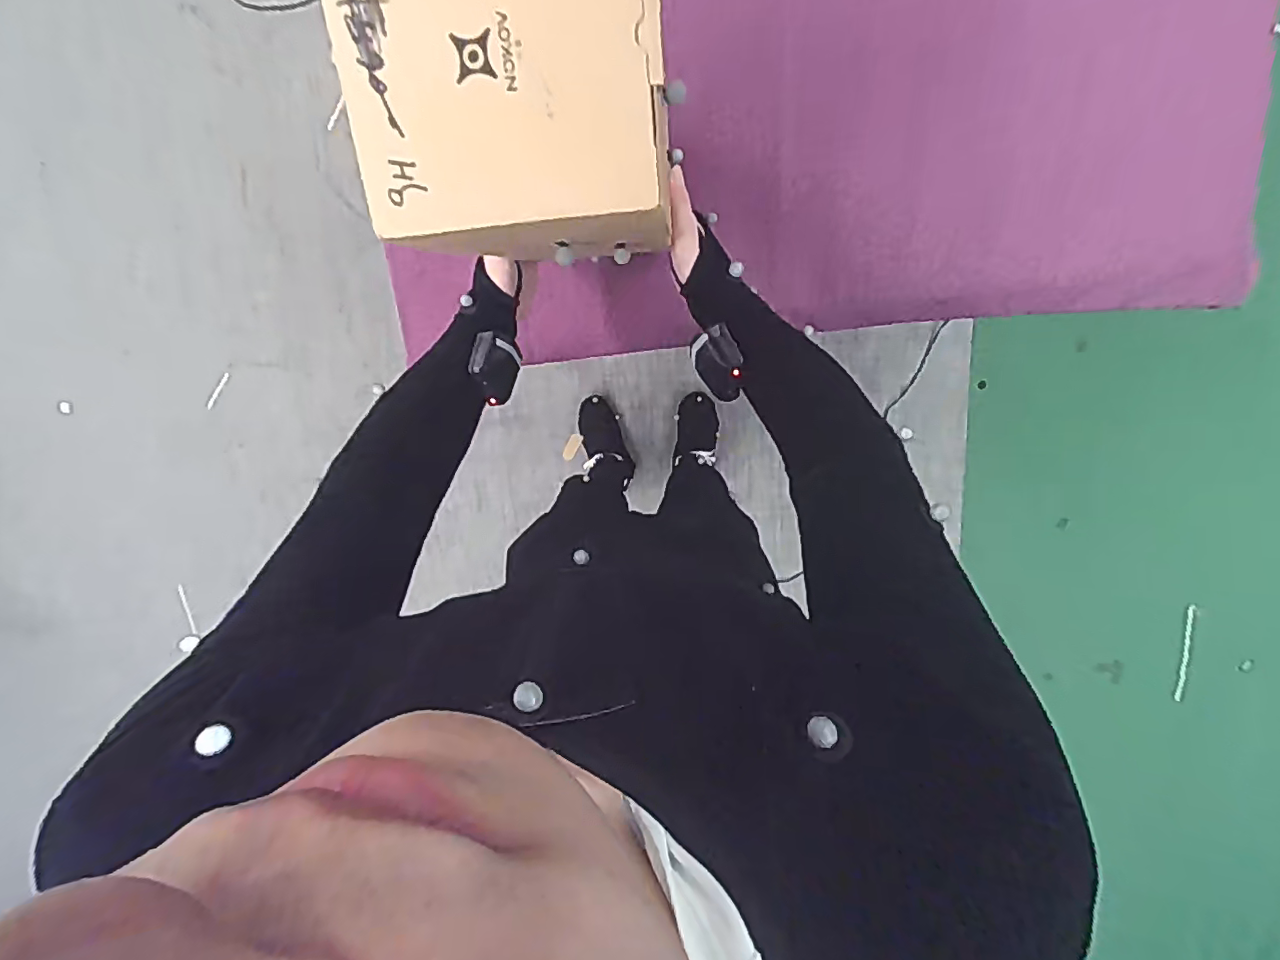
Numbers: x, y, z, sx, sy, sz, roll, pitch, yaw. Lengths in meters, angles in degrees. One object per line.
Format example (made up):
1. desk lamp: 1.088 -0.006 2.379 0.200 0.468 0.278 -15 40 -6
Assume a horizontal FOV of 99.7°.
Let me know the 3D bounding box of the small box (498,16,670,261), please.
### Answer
1. small box: -0.060 -0.311 0.528 0.179 0.176 0.168 -2 108 7

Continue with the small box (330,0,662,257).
1. small box: -0.075 -0.254 0.374 0.179 0.176 0.168 -3 108 6
